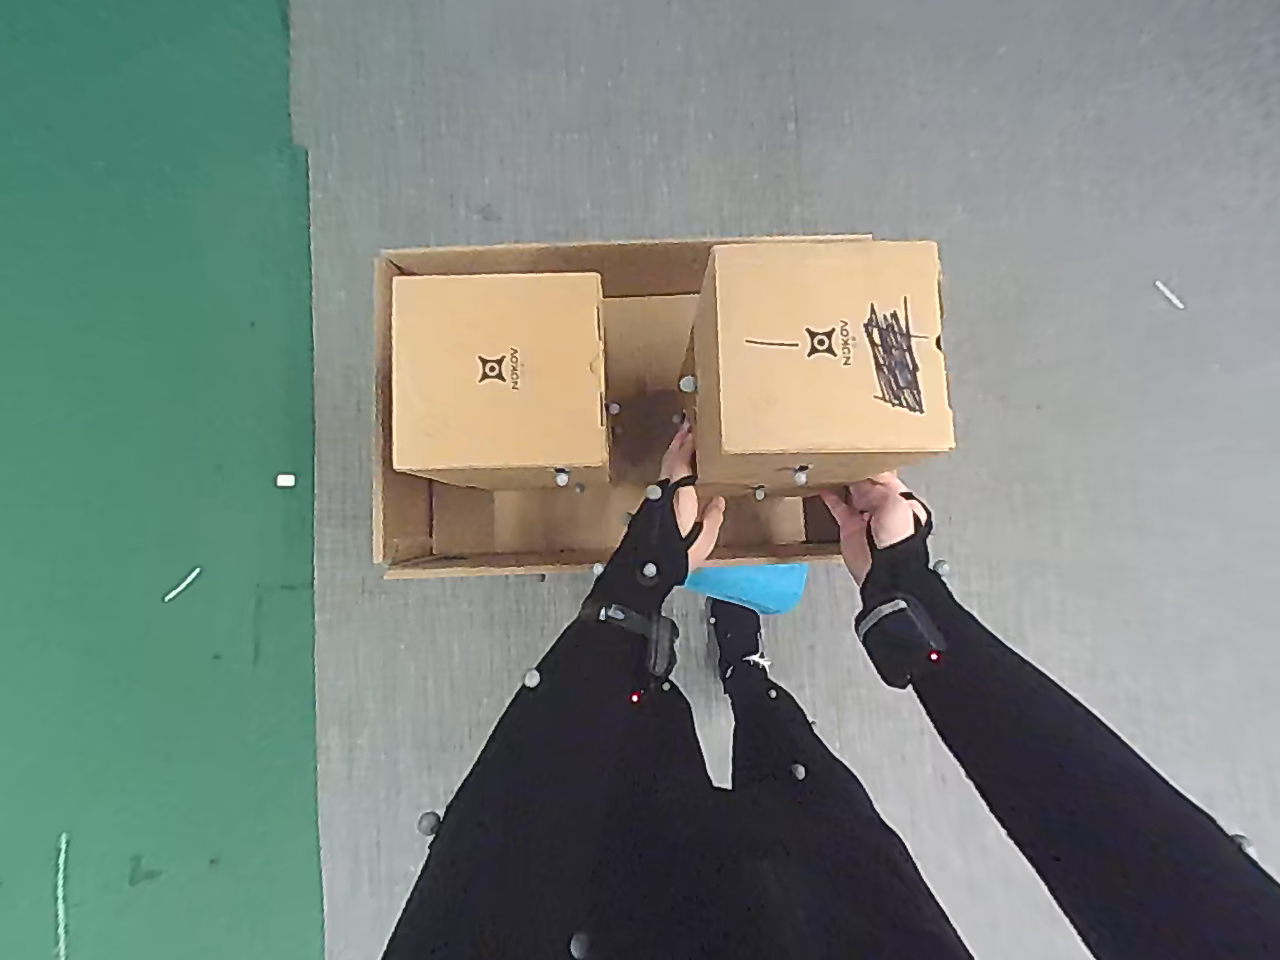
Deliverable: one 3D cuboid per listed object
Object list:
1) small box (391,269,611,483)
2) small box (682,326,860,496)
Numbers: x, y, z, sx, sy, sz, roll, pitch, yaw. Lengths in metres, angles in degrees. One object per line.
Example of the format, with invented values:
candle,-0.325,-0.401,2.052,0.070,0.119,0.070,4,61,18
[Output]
small box,-0.120,-0.087,0.528,0.179,0.176,0.168,-2,85,-2
small box,0.141,-0.071,0.645,0.179,0.176,0.168,0,82,0
